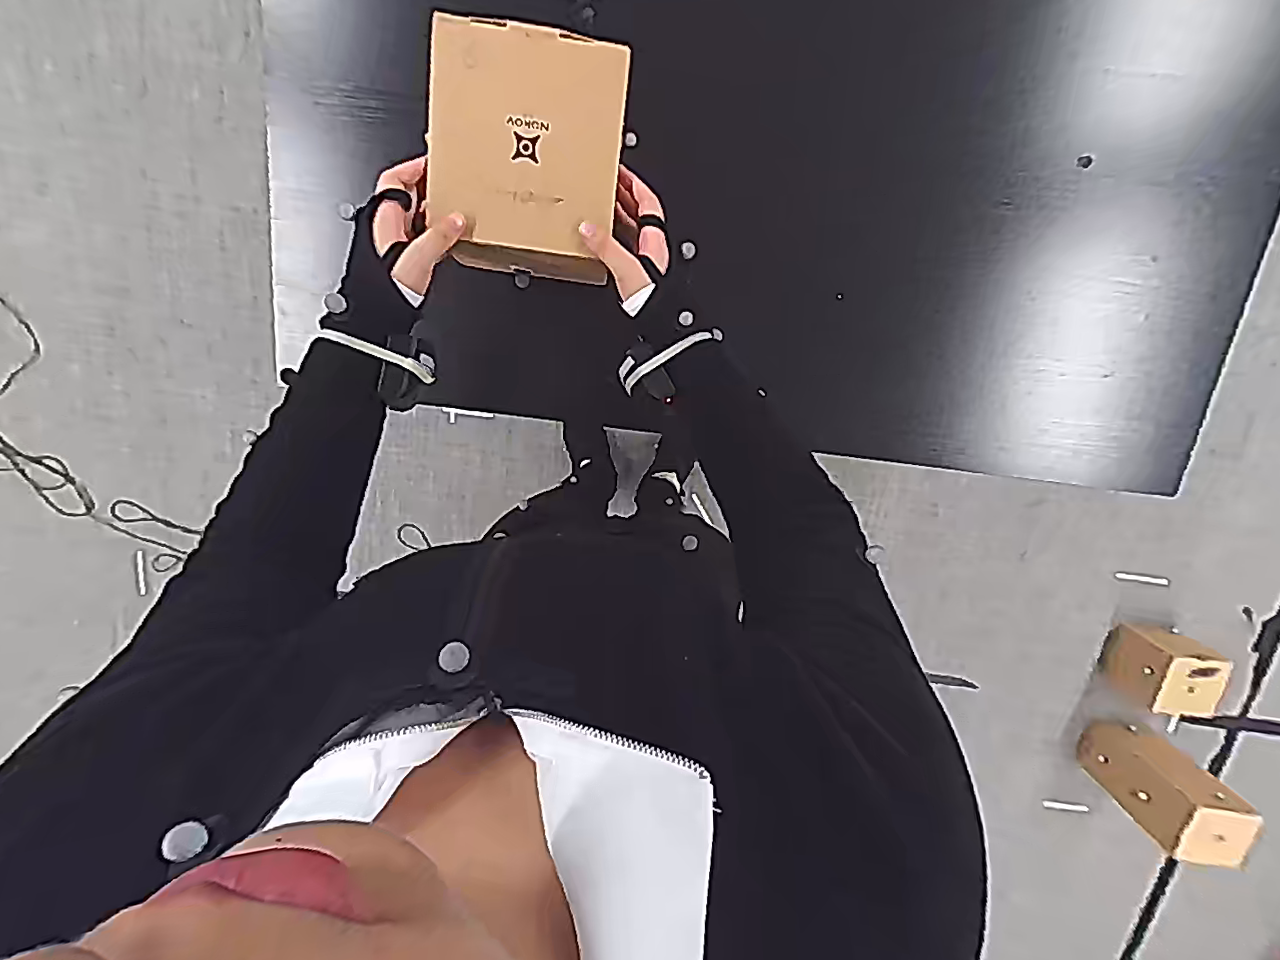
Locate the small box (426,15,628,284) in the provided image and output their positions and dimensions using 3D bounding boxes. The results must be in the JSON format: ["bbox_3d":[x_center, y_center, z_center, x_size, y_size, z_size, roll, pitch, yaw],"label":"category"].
[{"bbox_3d":[-0.107,-0.311,0.550,0.168,0.176,0.179,5,102,-5],"label":"small box"}]

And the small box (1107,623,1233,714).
[{"bbox_3d":[1.475,0.523,1.520,0.168,0.176,0.179,6,105,-1],"label":"small box"}]

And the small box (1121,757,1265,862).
[{"bbox_3d":[1.461,0.871,1.441,0.179,0.176,0.168,9,104,-1],"label":"small box"}]

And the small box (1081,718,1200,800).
[{"bbox_3d":[1.470,0.834,1.604,0.179,0.176,0.168,7,104,-1],"label":"small box"}]
